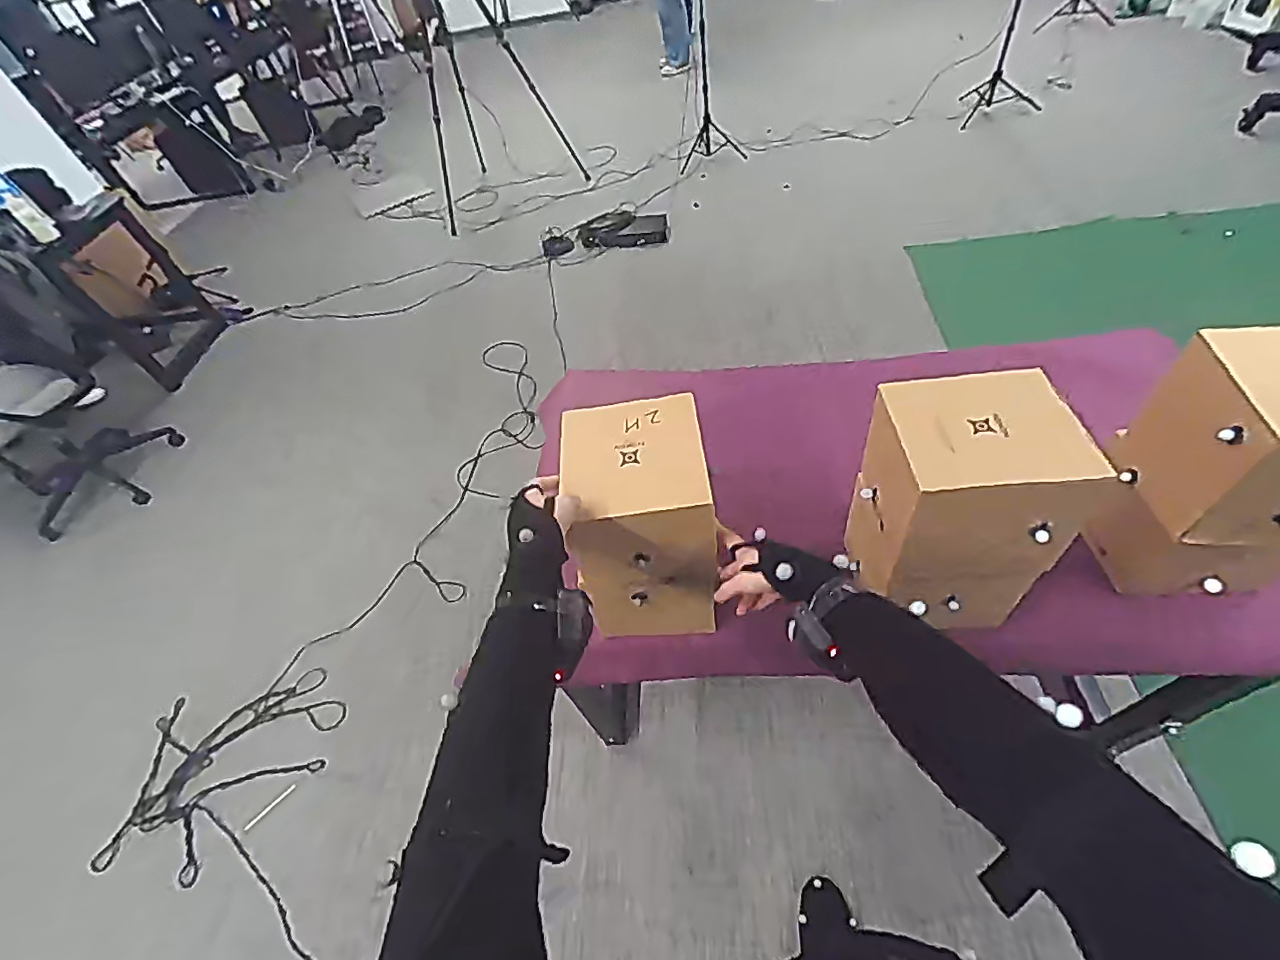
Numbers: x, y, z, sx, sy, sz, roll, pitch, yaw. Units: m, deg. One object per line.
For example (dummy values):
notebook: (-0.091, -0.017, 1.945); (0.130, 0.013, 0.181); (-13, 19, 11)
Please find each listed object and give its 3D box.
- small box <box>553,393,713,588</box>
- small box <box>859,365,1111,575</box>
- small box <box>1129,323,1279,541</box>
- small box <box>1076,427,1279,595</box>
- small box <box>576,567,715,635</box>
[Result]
small box: (-0.003, 0.021, 0.674); (0.168, 0.176, 0.179); (-8, 49, 5)
small box: (0.366, -0.006, 0.618); (0.179, 0.176, 0.168); (-5, 47, 10)
small box: (0.689, -0.051, 0.586); (0.168, 0.176, 0.179); (1, 51, 14)
small box: (0.731, 0.039, 0.718); (0.179, 0.176, 0.168); (-5, 48, 10)
small box: (0.015, 0.120, 0.805); (0.179, 0.176, 0.168); (-5, 49, 7)
